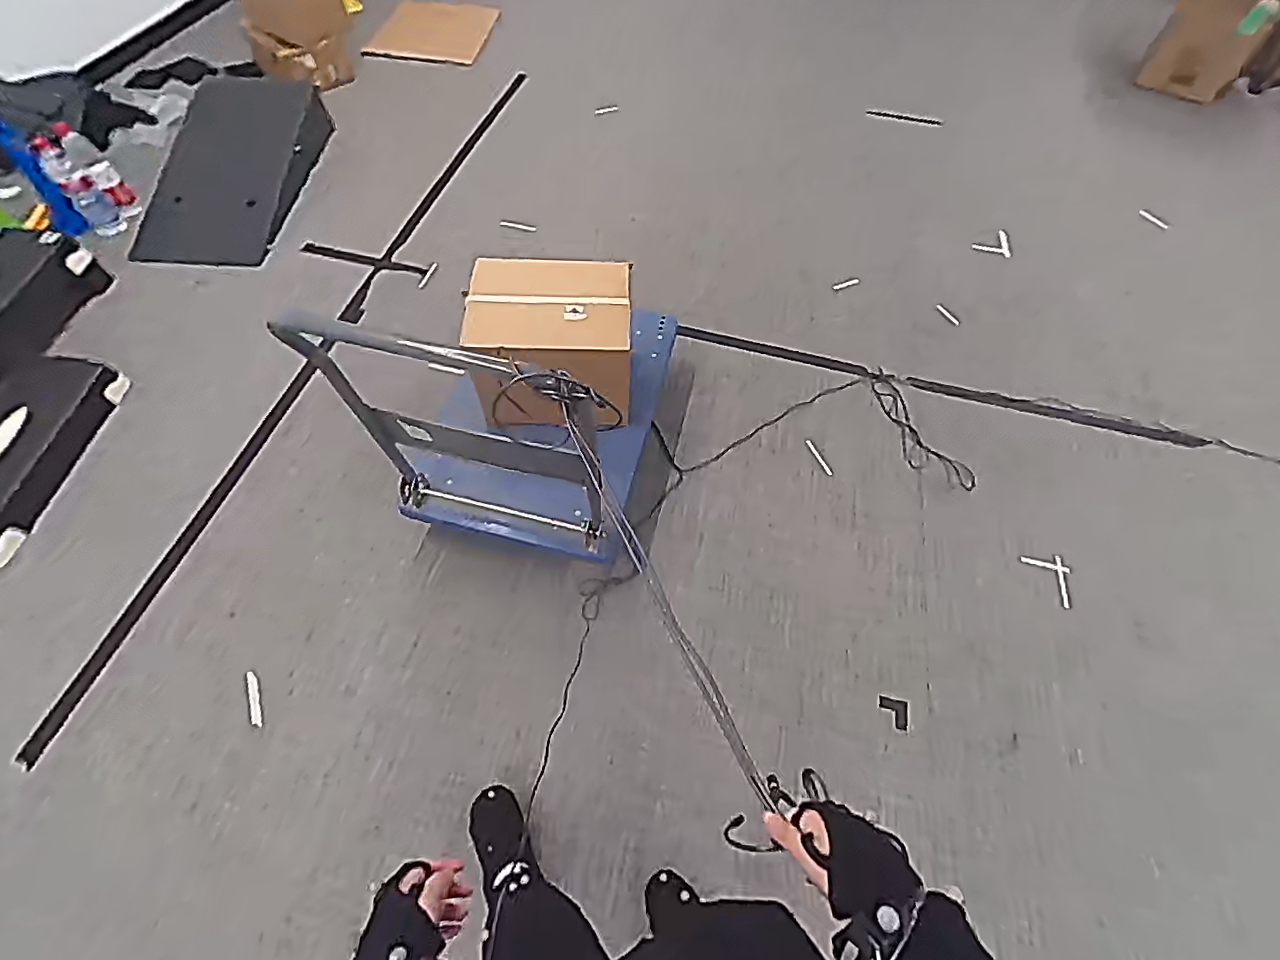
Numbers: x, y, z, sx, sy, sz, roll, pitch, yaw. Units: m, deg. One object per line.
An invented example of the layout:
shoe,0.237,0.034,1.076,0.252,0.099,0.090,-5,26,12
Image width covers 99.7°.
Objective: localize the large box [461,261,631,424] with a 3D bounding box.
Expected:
large box,-0.232,-0.362,1.465,0.408,0.320,0.320,1,61,-3
